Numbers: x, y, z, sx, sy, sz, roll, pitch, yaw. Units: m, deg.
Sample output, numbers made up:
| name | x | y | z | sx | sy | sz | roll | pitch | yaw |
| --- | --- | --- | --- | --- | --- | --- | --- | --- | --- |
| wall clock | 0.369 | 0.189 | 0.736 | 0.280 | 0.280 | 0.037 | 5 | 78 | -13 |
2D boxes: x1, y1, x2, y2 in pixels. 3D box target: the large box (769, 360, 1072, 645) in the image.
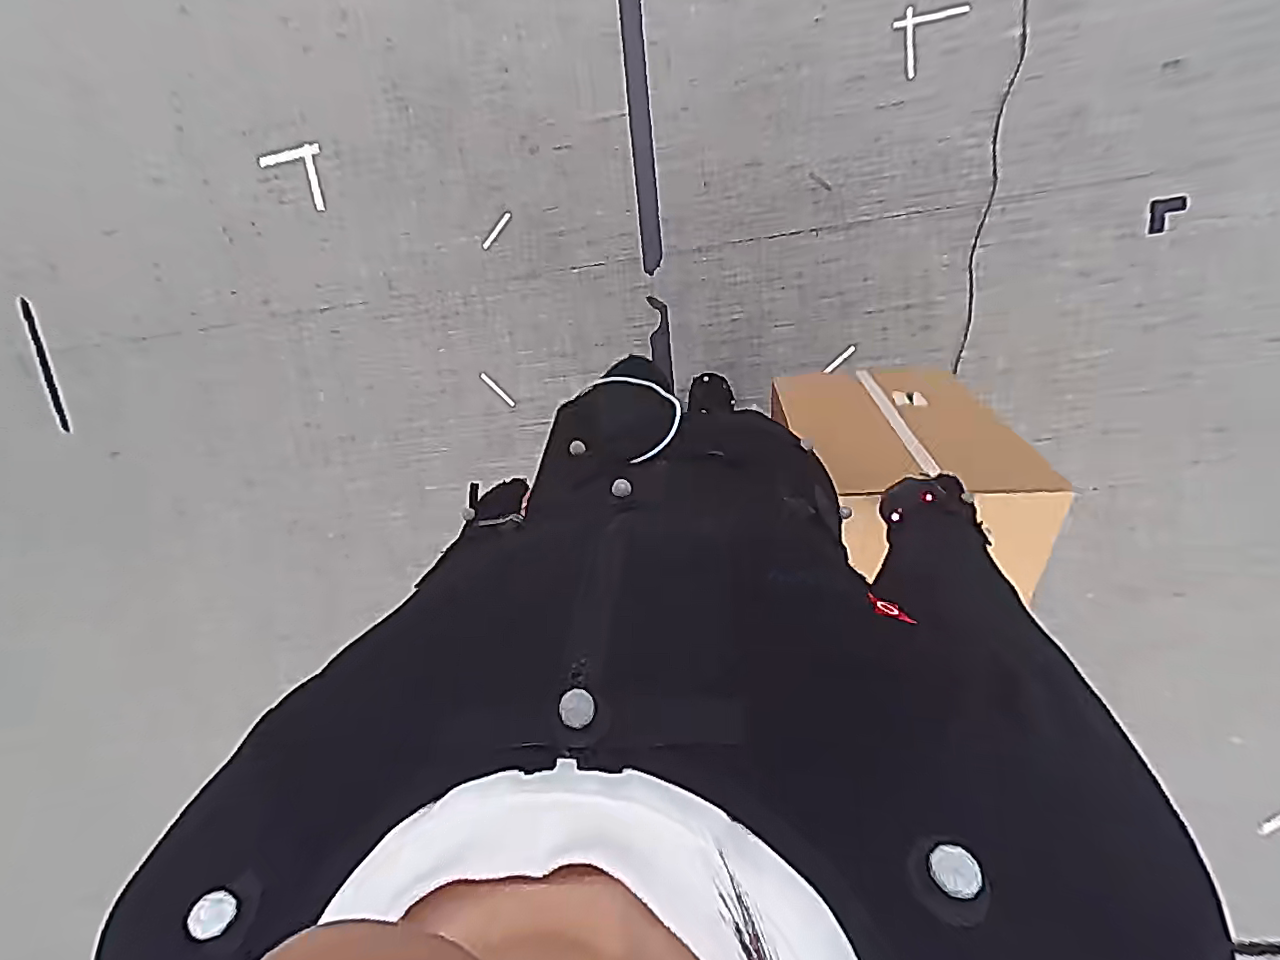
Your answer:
| name | x | y | z | sx | sy | sz | roll | pitch | yaw |
| --- | --- | --- | --- | --- | --- | --- | --- | --- | --- |
| large box | 0.406 | 0.022 | 0.920 | 0.320 | 0.408 | 0.320 | -2 | 123 | 5 |
